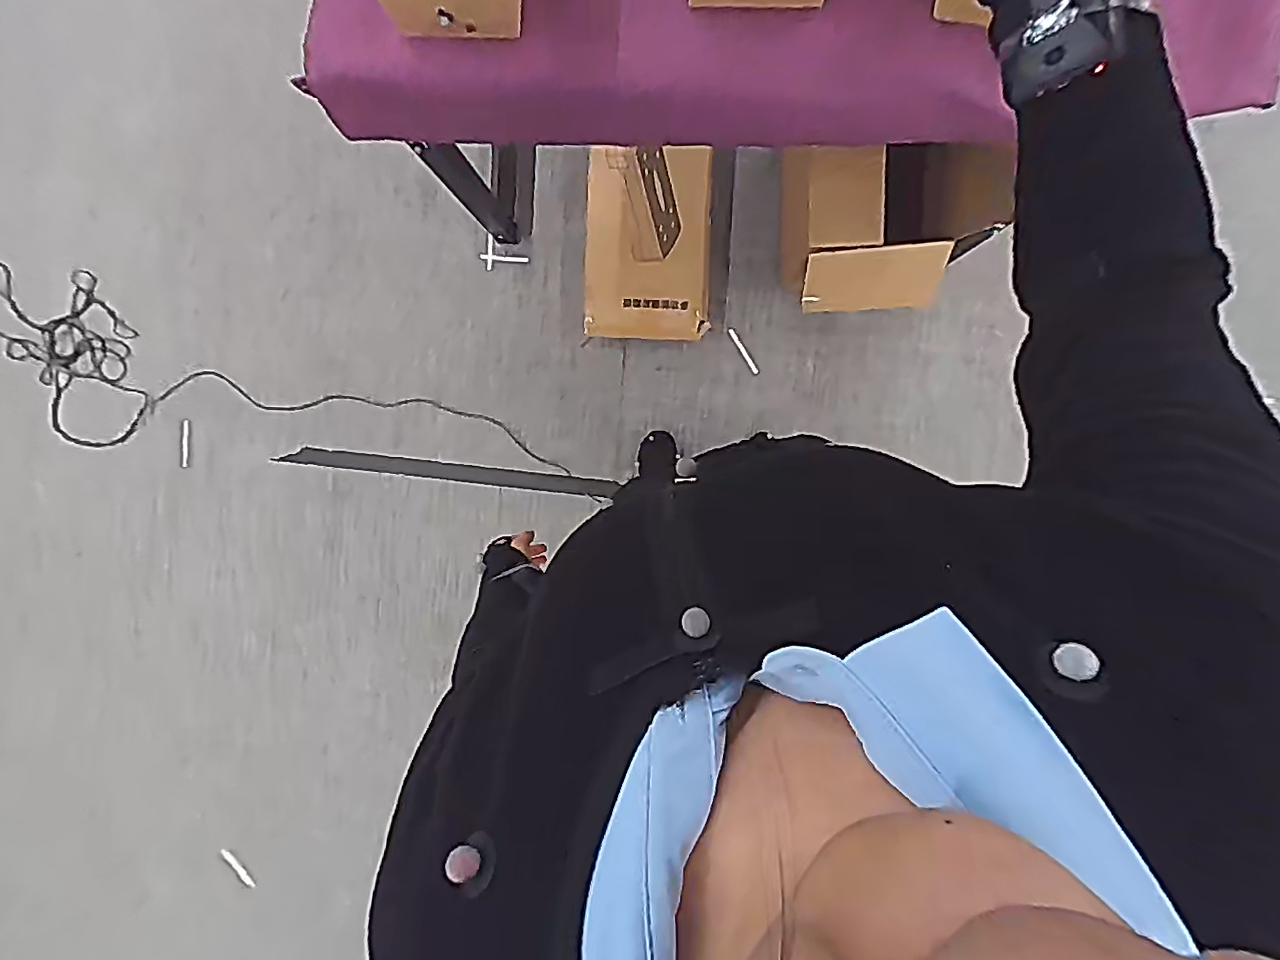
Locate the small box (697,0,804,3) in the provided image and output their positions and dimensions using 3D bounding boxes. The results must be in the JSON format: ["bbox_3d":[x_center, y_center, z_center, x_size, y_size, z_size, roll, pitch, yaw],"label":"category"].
[{"bbox_3d":[0.150,-0.693,0.616,0.179,0.176,0.168,3,92,4],"label":"small box"}]

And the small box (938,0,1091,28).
[{"bbox_3d":[0.466,-0.652,0.599,0.179,0.176,0.168,10,95,3],"label":"small box"}]
